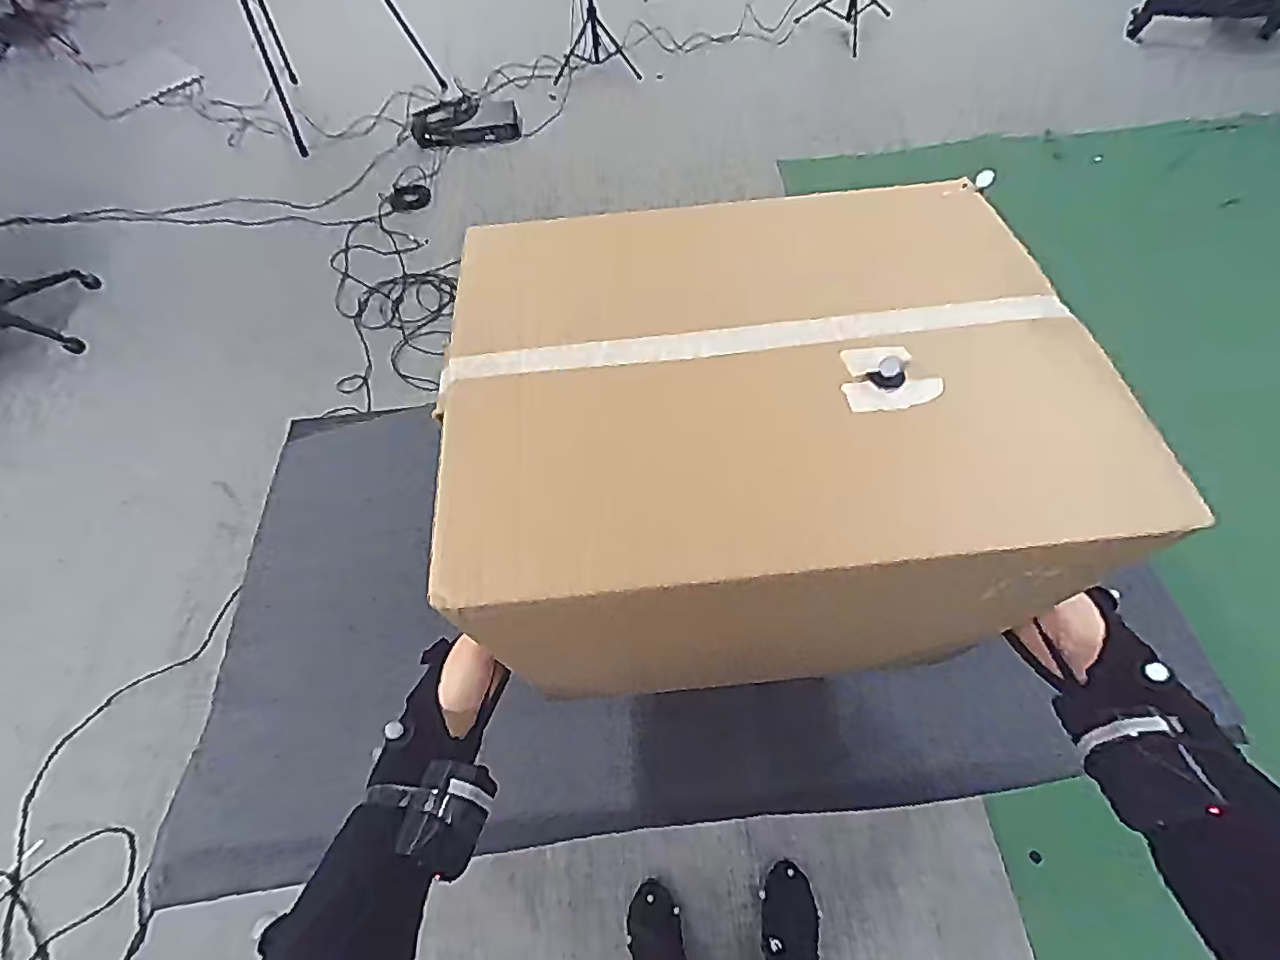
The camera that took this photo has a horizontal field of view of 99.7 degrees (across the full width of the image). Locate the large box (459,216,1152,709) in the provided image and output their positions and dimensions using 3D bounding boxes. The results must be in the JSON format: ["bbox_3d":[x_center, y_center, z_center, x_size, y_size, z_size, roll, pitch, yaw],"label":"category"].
[{"bbox_3d":[0.083,0.004,0.503,0.408,0.320,0.320,-6,60,-1],"label":"large box"}]
